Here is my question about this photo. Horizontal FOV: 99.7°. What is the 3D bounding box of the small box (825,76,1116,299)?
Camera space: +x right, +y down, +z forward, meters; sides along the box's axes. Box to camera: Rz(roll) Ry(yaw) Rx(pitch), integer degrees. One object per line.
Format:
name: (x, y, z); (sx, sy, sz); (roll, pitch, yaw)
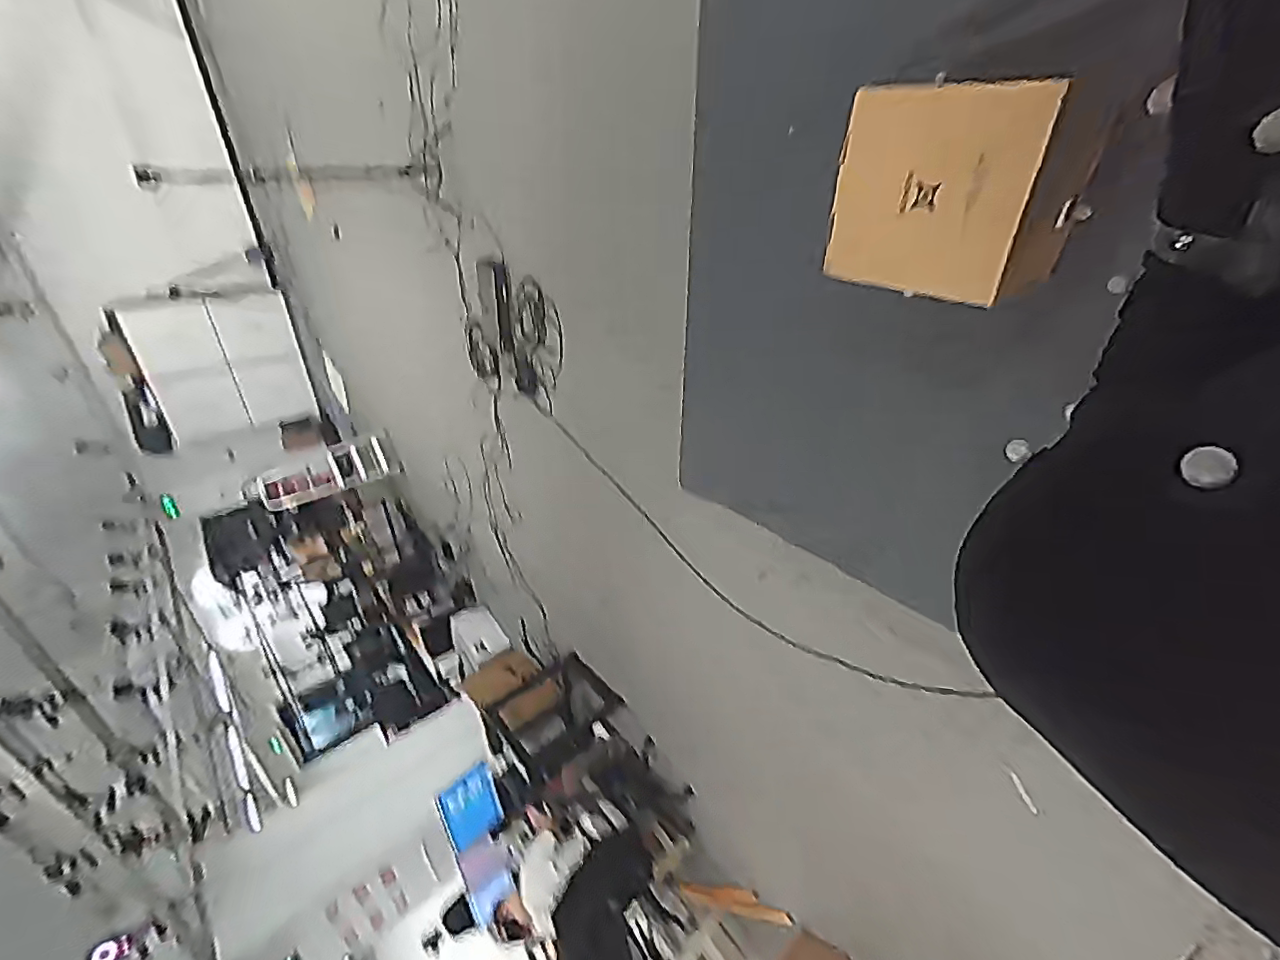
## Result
small box: (0.319, -0.291, 0.540); (0.179, 0.176, 0.168); (30, 134, 40)
